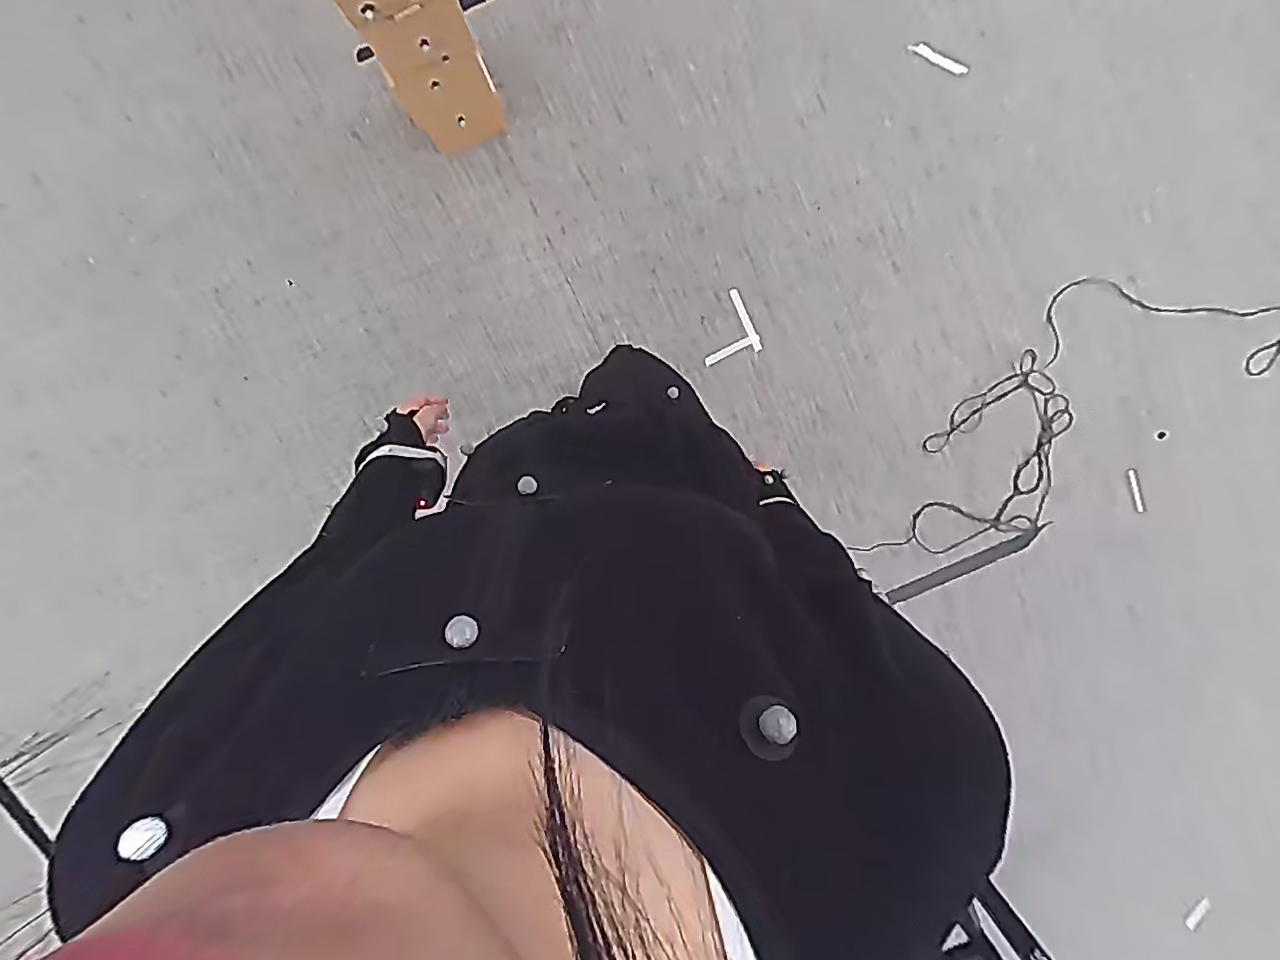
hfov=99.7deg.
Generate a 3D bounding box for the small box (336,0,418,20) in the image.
[{"bbox_3d":[-0.391,-0.785,0.739,0.168,0.176,0.179,-23,101,1],"label":"small box"}]

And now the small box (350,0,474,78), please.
[{"bbox_3d":[-0.399,-0.815,0.900,0.168,0.176,0.179,-23,102,0],"label":"small box"}]

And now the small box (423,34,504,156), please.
[{"bbox_3d":[-0.423,-0.875,1.221,0.179,0.176,0.168,-24,102,1],"label":"small box"}]

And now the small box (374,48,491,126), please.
[{"bbox_3d":[-0.416,-0.839,1.061,0.179,0.176,0.168,-22,102,1],"label":"small box"}]
